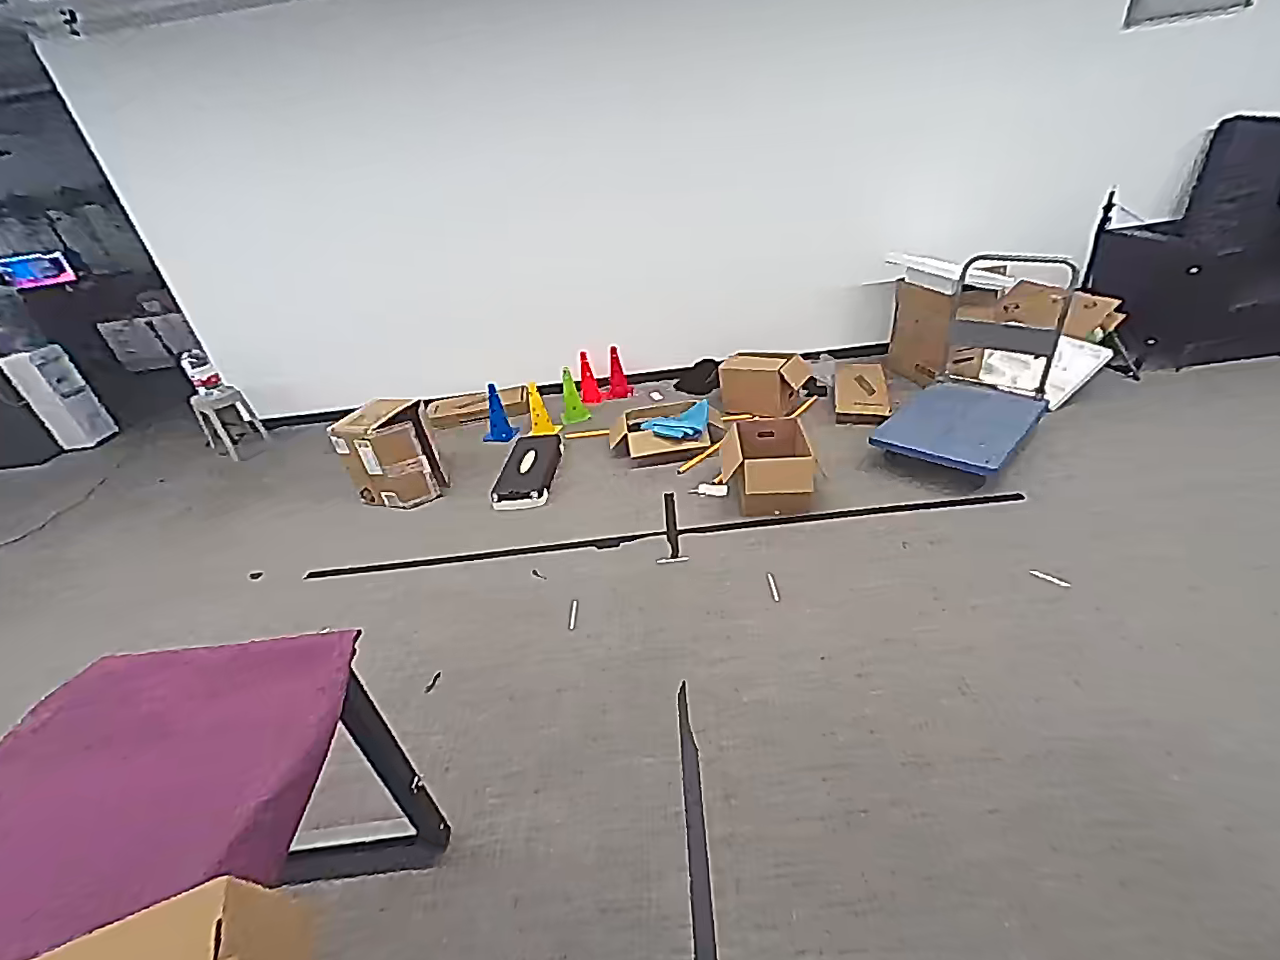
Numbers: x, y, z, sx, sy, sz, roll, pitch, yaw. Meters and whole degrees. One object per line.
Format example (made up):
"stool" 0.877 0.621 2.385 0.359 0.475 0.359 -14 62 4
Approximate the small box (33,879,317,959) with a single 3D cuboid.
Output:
"small box" -0.382 0.458 0.420 0.179 0.176 0.168 -17 46 -16
